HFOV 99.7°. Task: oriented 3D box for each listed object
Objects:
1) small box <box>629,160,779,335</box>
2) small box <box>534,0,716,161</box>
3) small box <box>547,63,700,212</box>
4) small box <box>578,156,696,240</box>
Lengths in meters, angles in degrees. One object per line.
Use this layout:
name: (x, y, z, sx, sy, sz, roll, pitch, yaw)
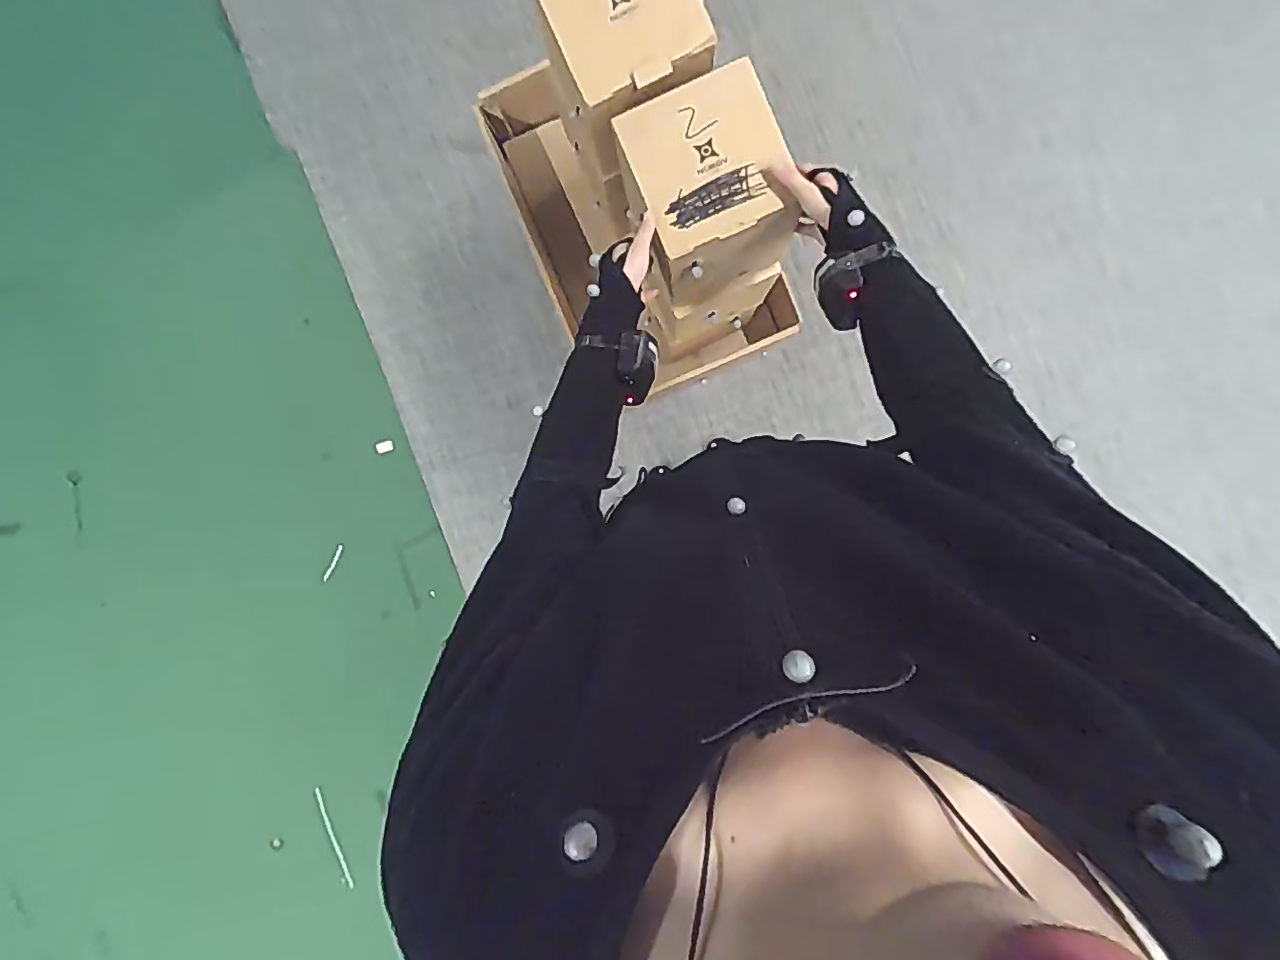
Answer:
small box: (0.096, -0.343, 0.844, 0.168, 0.176, 0.179, -24, 90, 4)
small box: (-0.018, -0.540, 0.679, 0.168, 0.176, 0.179, -25, 93, 3)
small box: (-0.019, -0.550, 0.842, 0.168, 0.176, 0.179, -27, 93, 4)
small box: (-0.009, -0.573, 1.004, 0.168, 0.176, 0.179, -26, 94, 3)
